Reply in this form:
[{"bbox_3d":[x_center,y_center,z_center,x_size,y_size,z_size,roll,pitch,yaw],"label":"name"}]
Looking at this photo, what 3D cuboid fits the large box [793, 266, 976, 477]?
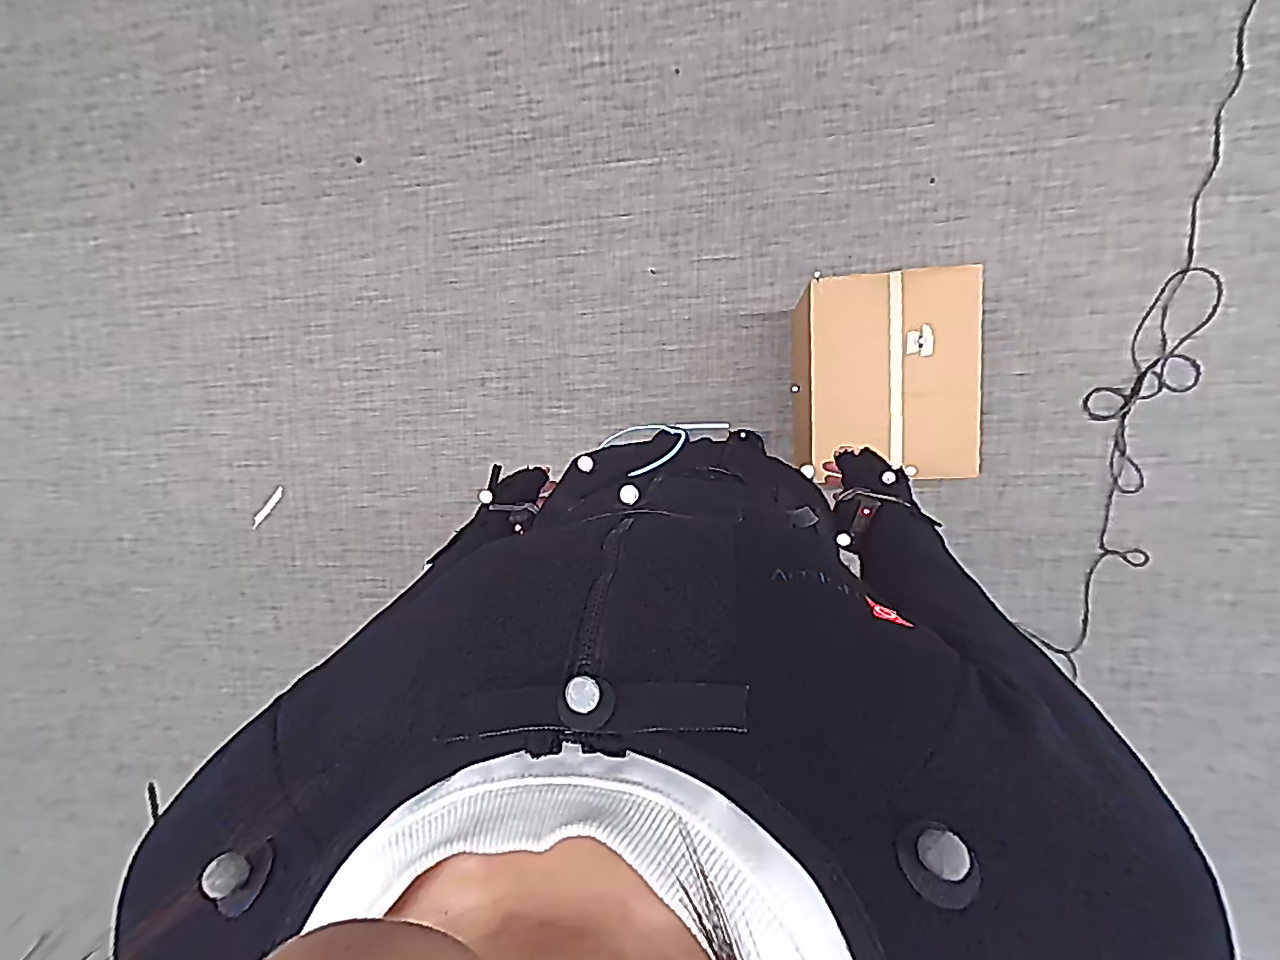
[{"bbox_3d":[0.523,-0.220,1.219,0.320,0.320,0.408,-2,94,8],"label":"large box"}]
